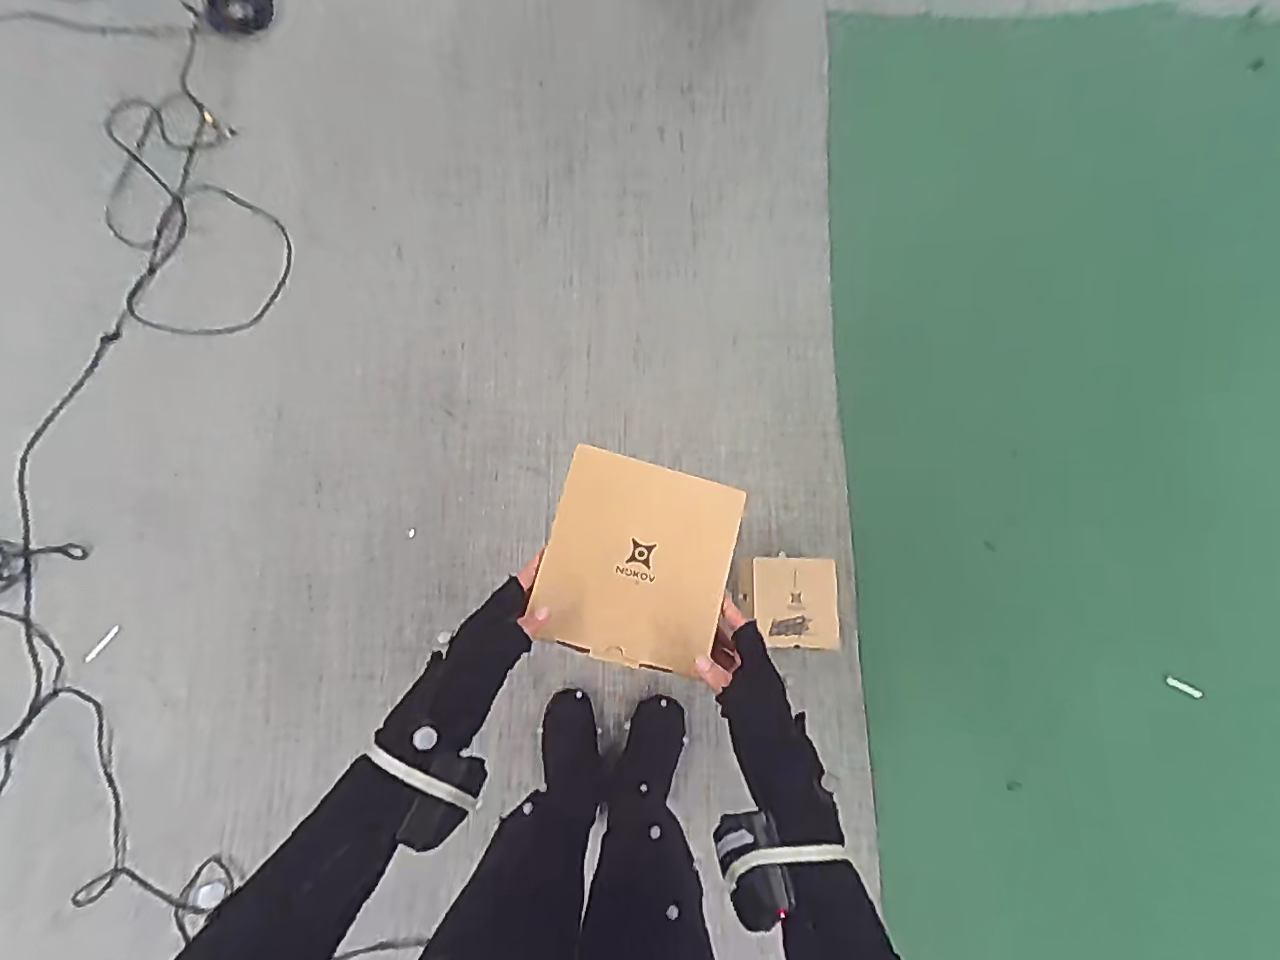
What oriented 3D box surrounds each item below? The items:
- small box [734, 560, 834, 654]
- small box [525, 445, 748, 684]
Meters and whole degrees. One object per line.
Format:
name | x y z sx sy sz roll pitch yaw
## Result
small box | 0.293 0.260 1.130 0.168 0.176 0.179 1 78 0
small box | -0.011 0.085 0.548 0.168 0.176 0.179 16 78 -5
